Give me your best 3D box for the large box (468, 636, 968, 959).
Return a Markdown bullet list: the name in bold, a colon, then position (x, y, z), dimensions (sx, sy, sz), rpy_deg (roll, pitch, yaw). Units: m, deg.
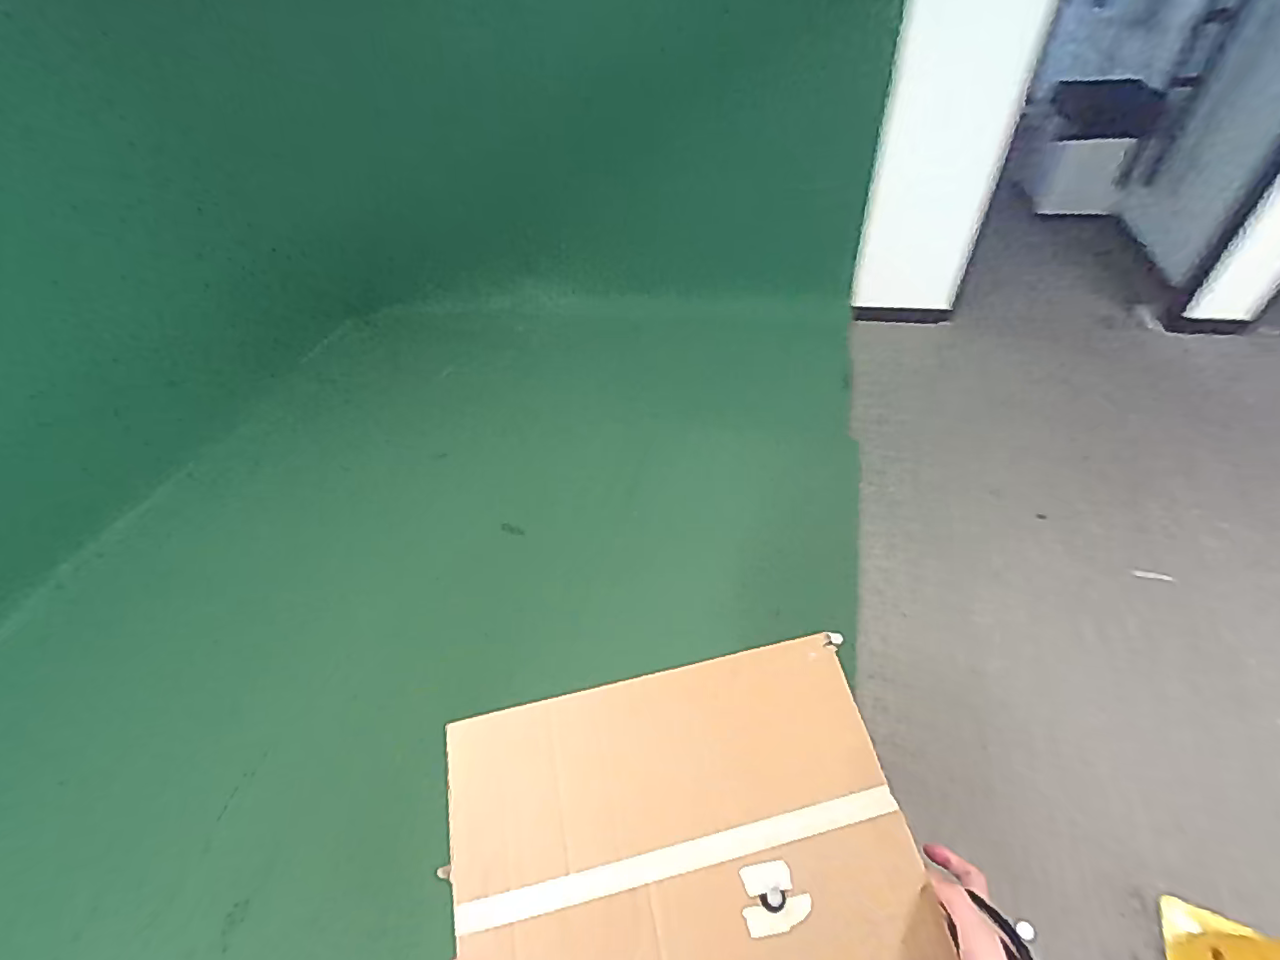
- **large box**: position (0.053, 0.413, 0.620), dimensions (0.408, 0.320, 0.320), rpy_deg (-11, 62, -6)
